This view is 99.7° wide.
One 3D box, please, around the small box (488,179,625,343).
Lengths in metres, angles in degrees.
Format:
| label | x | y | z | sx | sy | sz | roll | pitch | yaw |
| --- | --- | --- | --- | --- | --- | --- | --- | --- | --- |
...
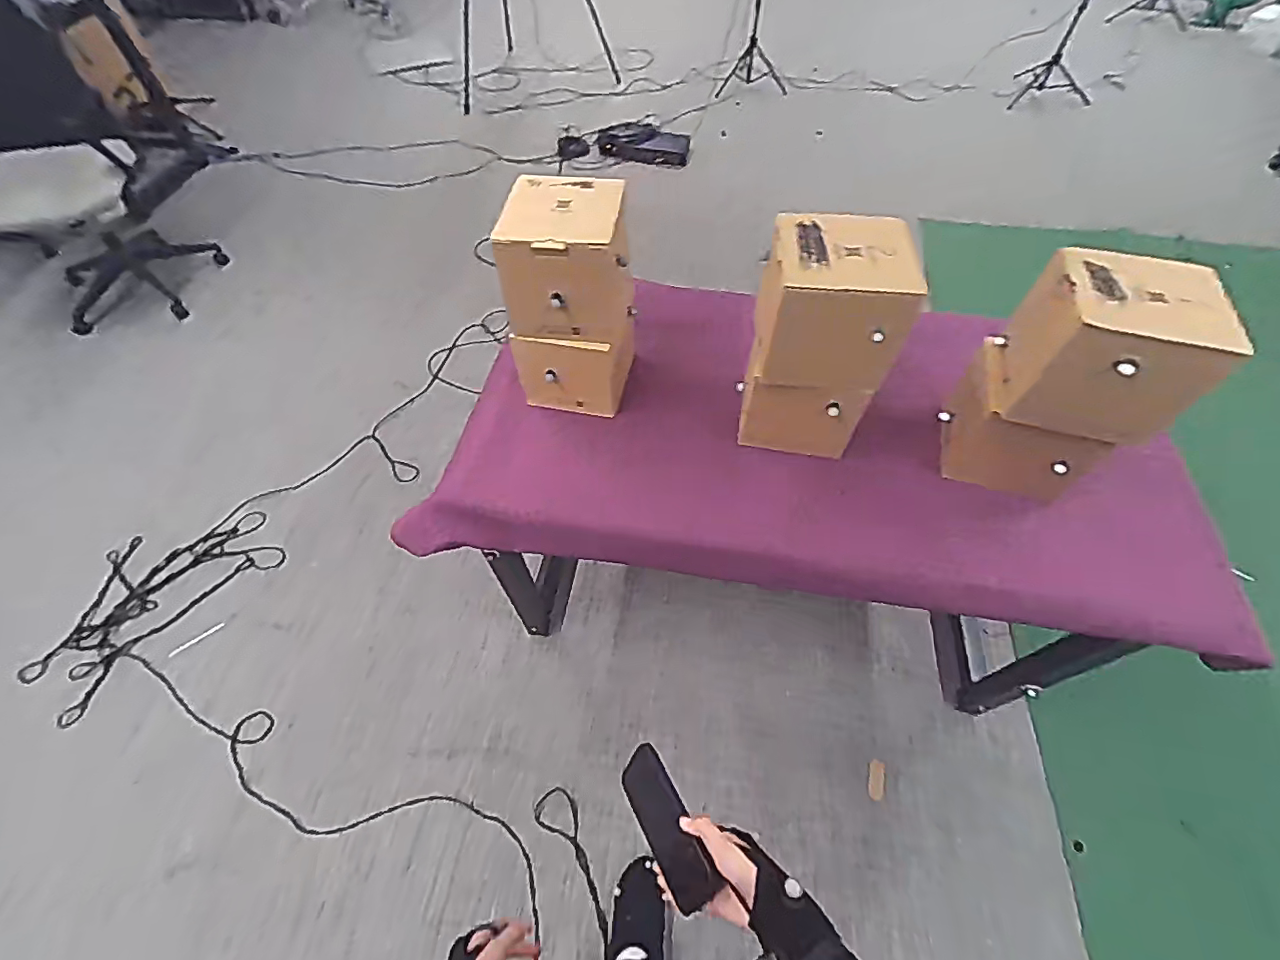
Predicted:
| label | x | y | z | sx | sy | sz | roll | pitch | yaw |
| --- | --- | --- | --- | --- | --- | --- | --- | --- | --- |
| small box | -0.115 | -0.333 | 0.837 | 0.168 | 0.176 | 0.179 | 6 | 57 | 4 |

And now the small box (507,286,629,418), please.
| label | x | y | z | sx | sy | sz | roll | pitch | yaw |
| --- | --- | --- | --- | --- | --- | --- | --- | --- | --- |
| small box | -0.115 | -0.234 | 0.968 | 0.168 | 0.176 | 0.179 | 10 | 56 | 7 |

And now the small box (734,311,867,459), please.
| label | x | y | z | sx | sy | sz | roll | pitch | yaw |
| --- | --- | --- | --- | --- | --- | --- | --- | --- | --- |
| small box | 0.263 | -0.153 | 0.907 | 0.179 | 0.176 | 0.168 | 9 | 56 | 7 |

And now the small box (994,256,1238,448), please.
| label | x | y | z | sx | sy | sz | roll | pitch | yaw |
| --- | --- | --- | --- | --- | --- | --- | --- | --- | --- |
| small box | 0.597 | -0.164 | 0.715 | 0.179 | 0.176 | 0.168 | 15 | 57 | 10 |

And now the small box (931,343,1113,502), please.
| label | x | y | z | sx | sy | sz | roll | pitch | yaw |
| --- | --- | --- | --- | --- | --- | --- | --- | --- | --- |
| small box | 0.593 | -0.086 | 0.859 | 0.179 | 0.176 | 0.168 | 15 | 57 | 11 |
